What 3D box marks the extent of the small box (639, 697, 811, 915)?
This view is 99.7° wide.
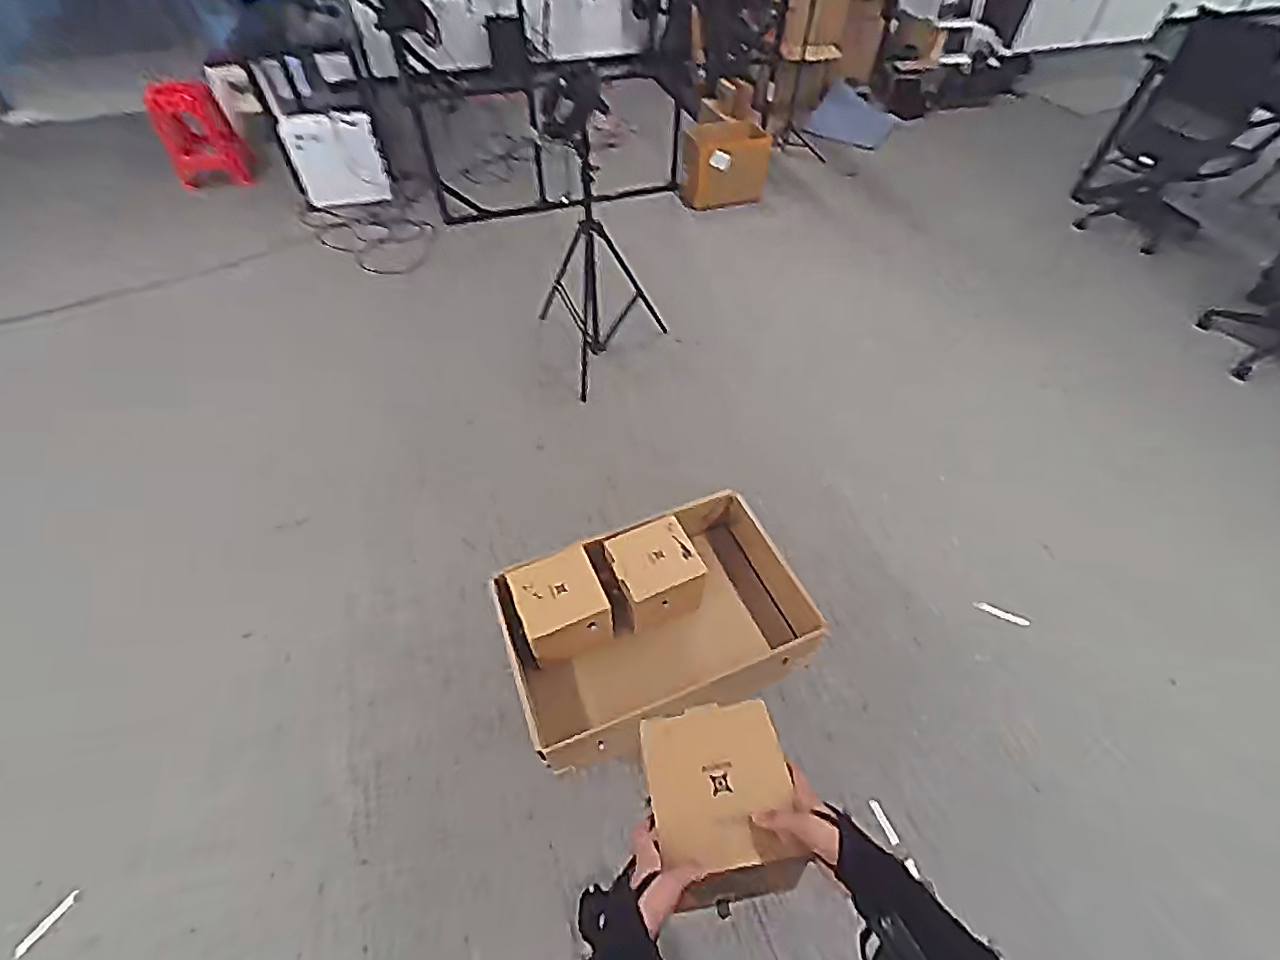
[{"bbox_3d":[0.093,0.407,0.680,0.168,0.176,0.179,-9,41,-5],"label":"small box"}]
